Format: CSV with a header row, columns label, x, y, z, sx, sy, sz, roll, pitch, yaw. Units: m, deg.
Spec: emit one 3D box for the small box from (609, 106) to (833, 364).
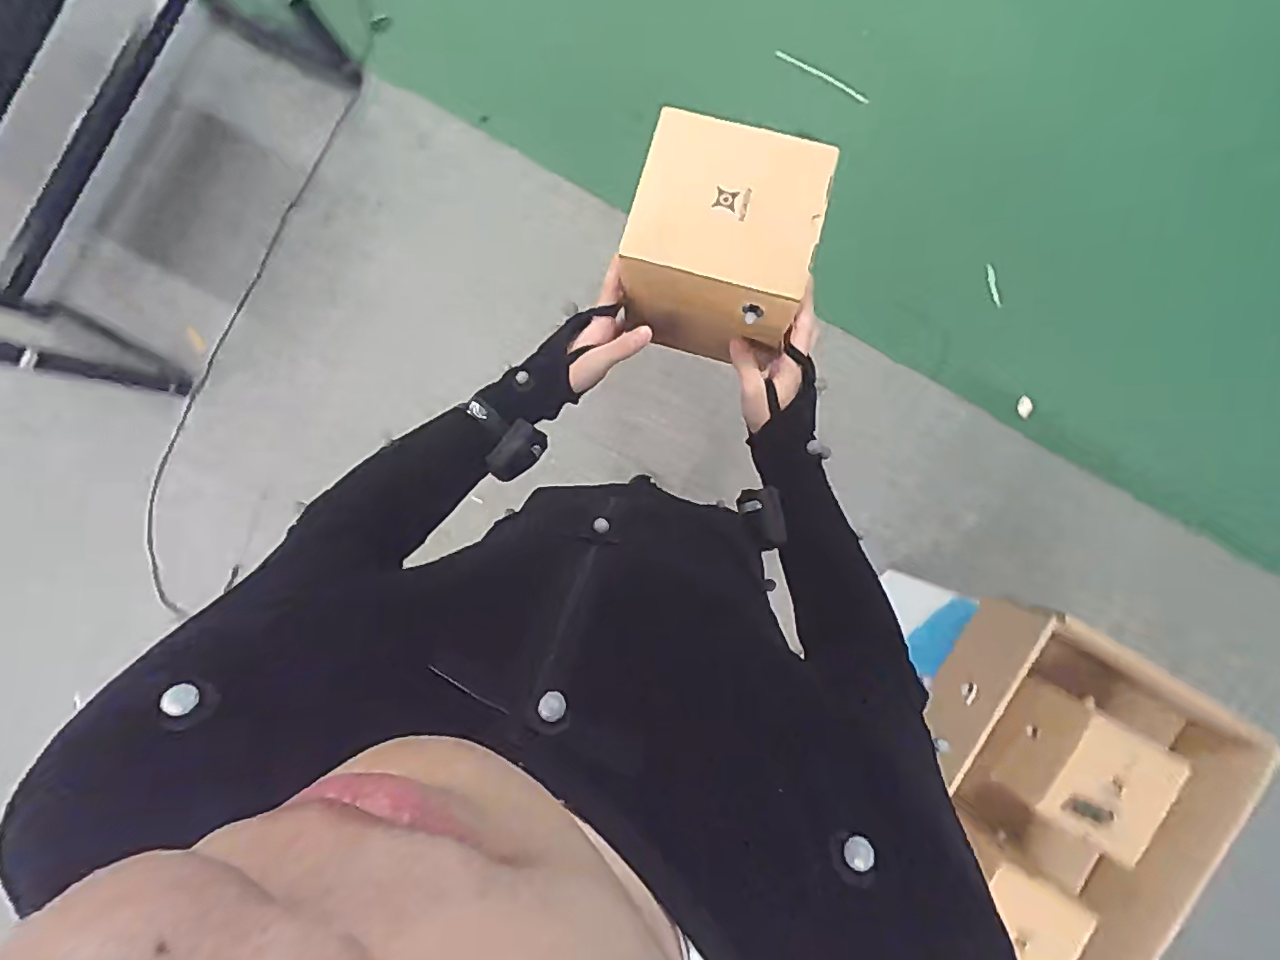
label,x,y,z,sx,sy,sz,roll,pitch,yaw
small box,0.076,-0.241,0.570,0.179,0.176,0.168,15,79,3
